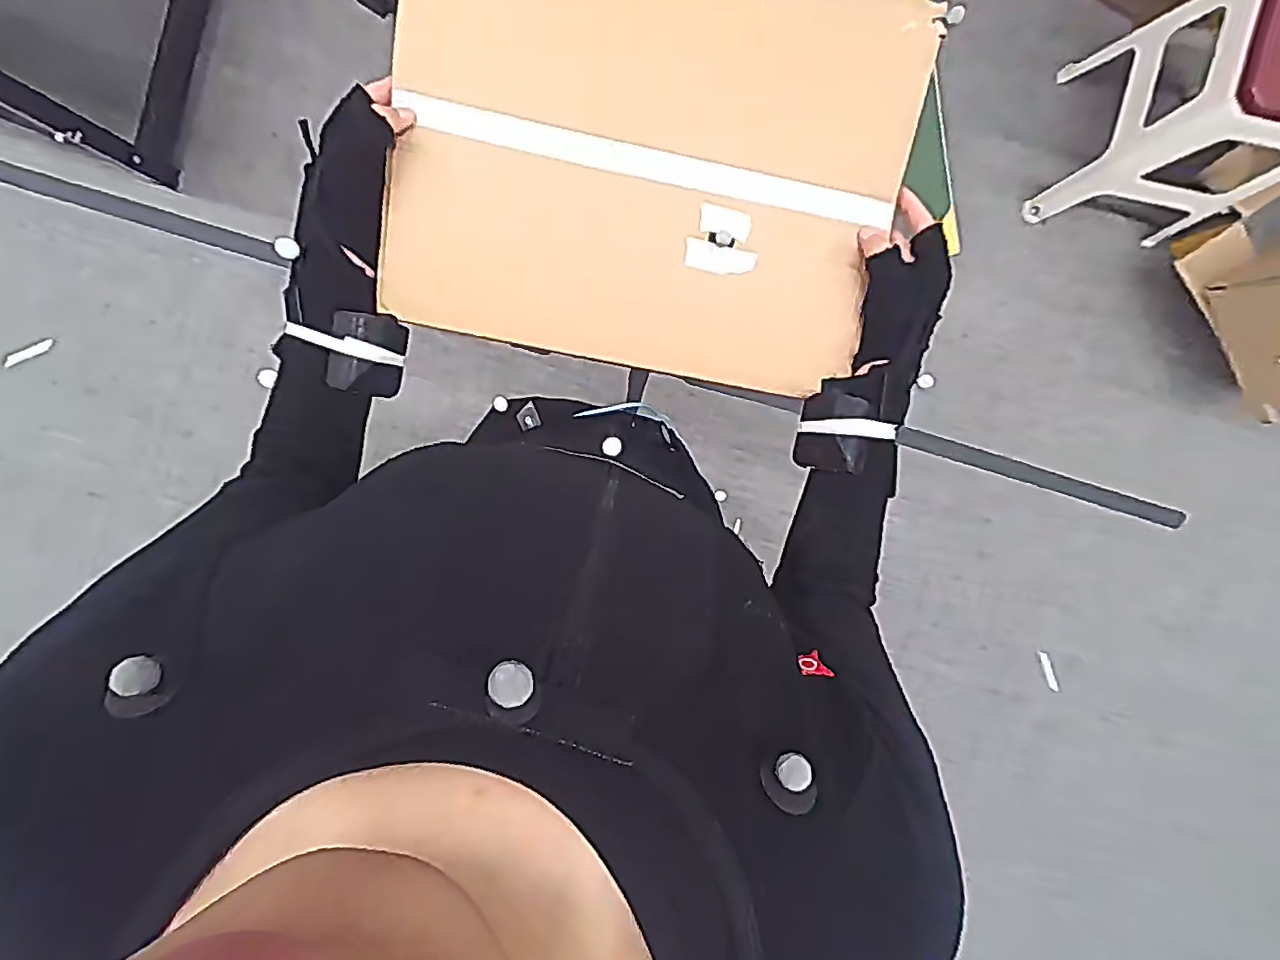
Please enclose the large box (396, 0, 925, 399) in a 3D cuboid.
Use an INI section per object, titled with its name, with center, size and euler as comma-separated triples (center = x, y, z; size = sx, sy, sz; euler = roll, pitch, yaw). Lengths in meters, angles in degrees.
[large box]
center = 0.000, -0.282, 0.591
size = 0.408, 0.320, 0.320
euler = 10, 103, -6
